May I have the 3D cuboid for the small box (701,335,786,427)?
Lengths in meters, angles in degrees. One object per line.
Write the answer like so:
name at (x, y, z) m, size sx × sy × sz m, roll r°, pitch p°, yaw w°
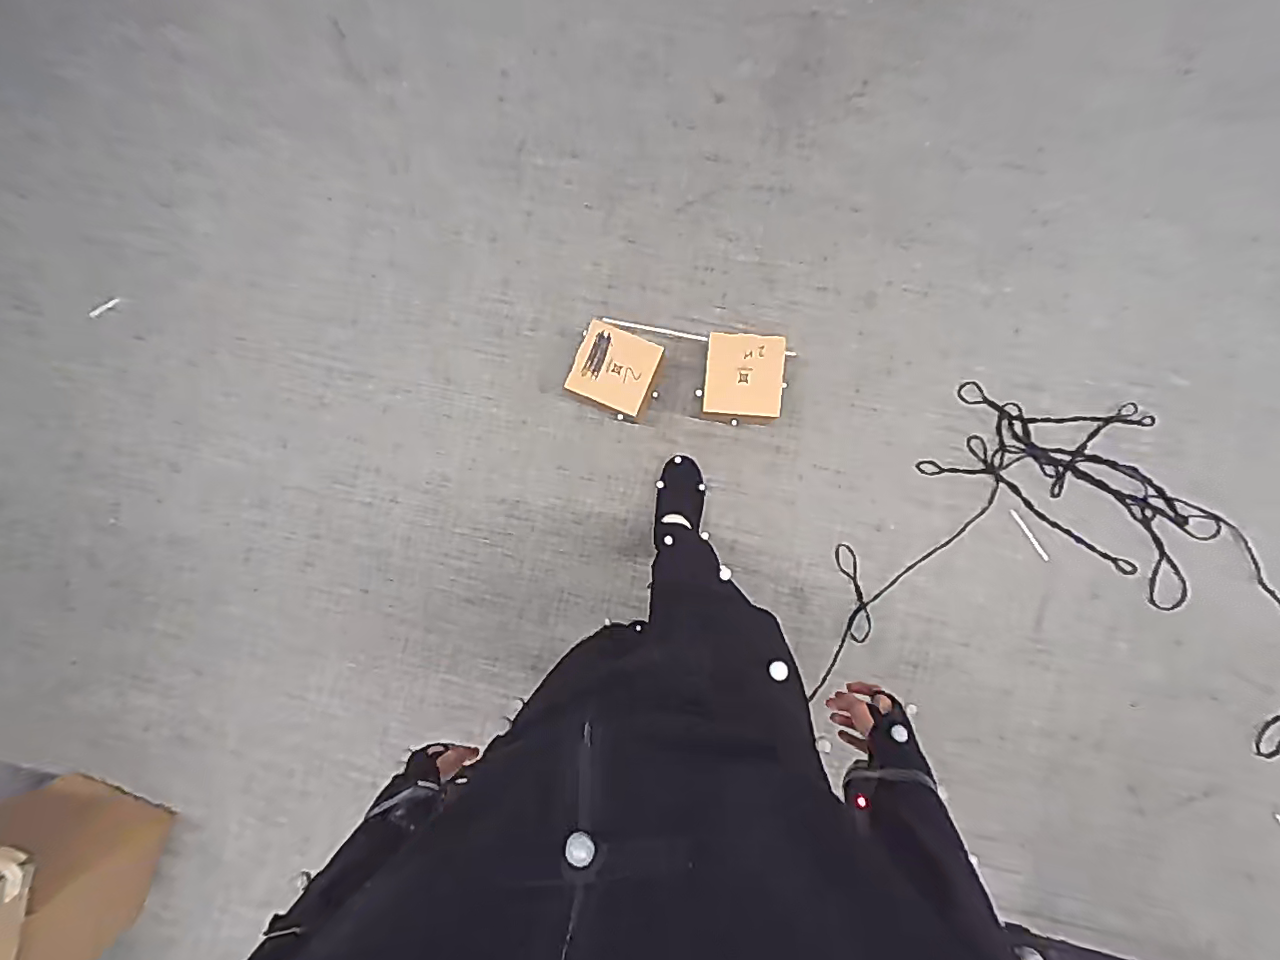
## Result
small box at (0.229, -0.218, 1.236) m, size 0.168 × 0.176 × 0.179 m, roll 5°, pitch 90°, yaw 5°
